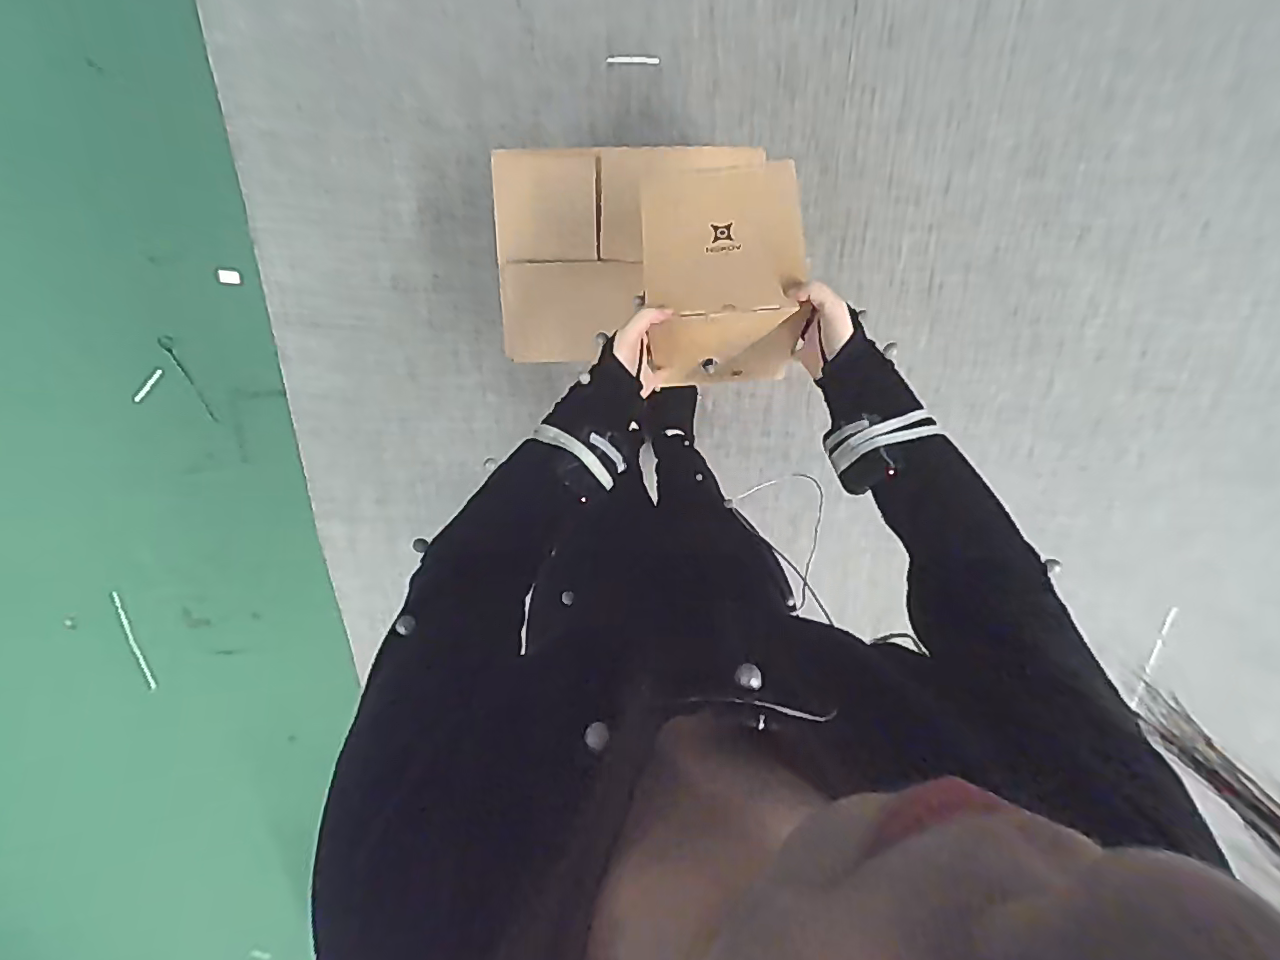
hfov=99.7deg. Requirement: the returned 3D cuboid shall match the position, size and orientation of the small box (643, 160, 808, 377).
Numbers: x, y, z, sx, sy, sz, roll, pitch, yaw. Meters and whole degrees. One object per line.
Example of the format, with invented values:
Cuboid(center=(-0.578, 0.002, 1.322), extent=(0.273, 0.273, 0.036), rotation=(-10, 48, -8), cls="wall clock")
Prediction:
Cuboid(center=(0.087, -0.235, 0.632), extent=(0.168, 0.176, 0.179), rotation=(-2, 78, 2), cls="small box")
